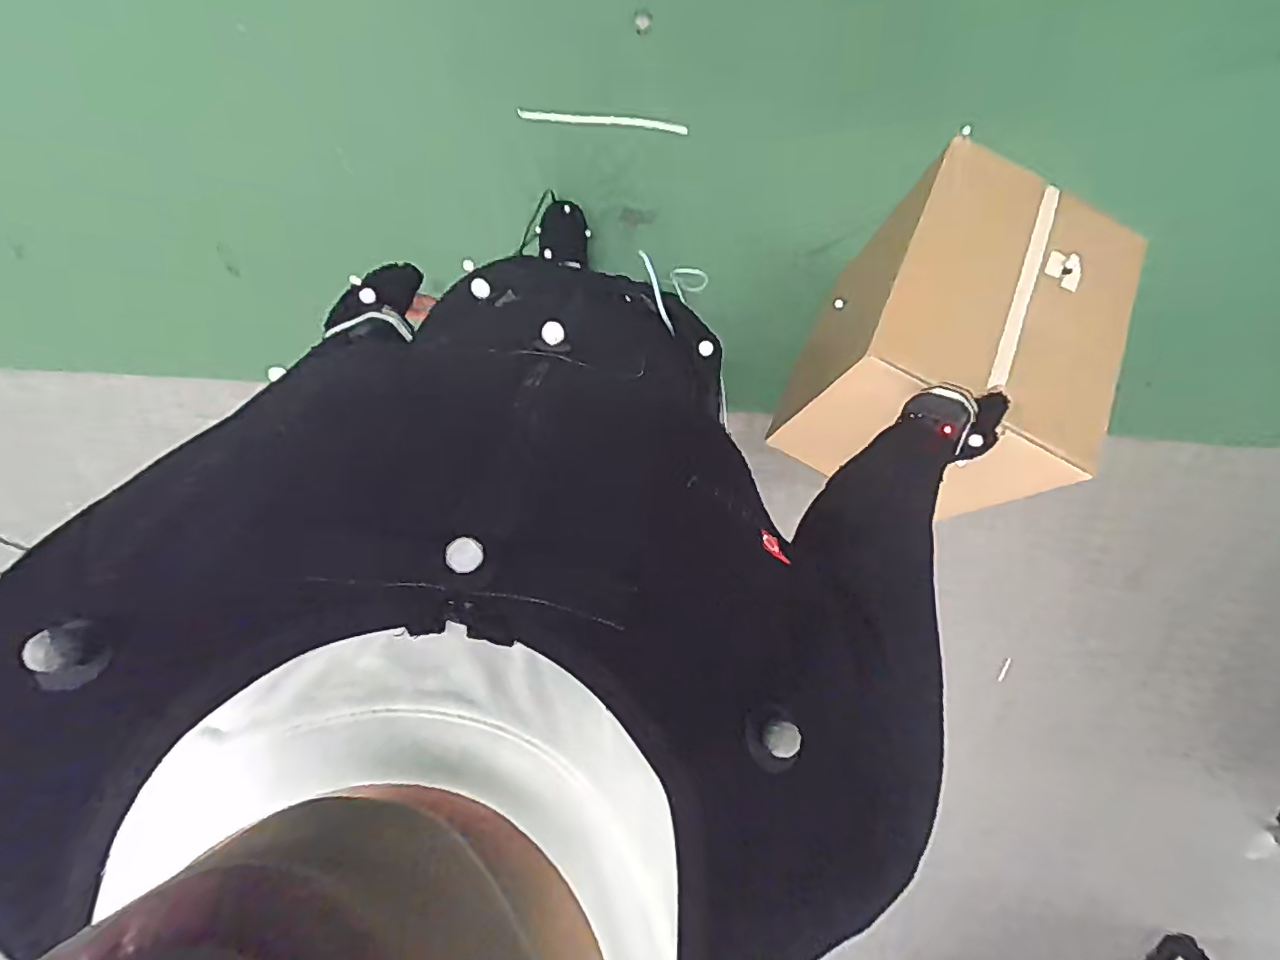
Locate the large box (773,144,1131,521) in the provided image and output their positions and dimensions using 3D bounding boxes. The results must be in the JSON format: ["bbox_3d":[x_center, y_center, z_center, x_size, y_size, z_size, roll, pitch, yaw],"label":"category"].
[{"bbox_3d":[0.461,-0.200,0.846,0.320,0.320,0.408,28,71,-2],"label":"large box"}]
